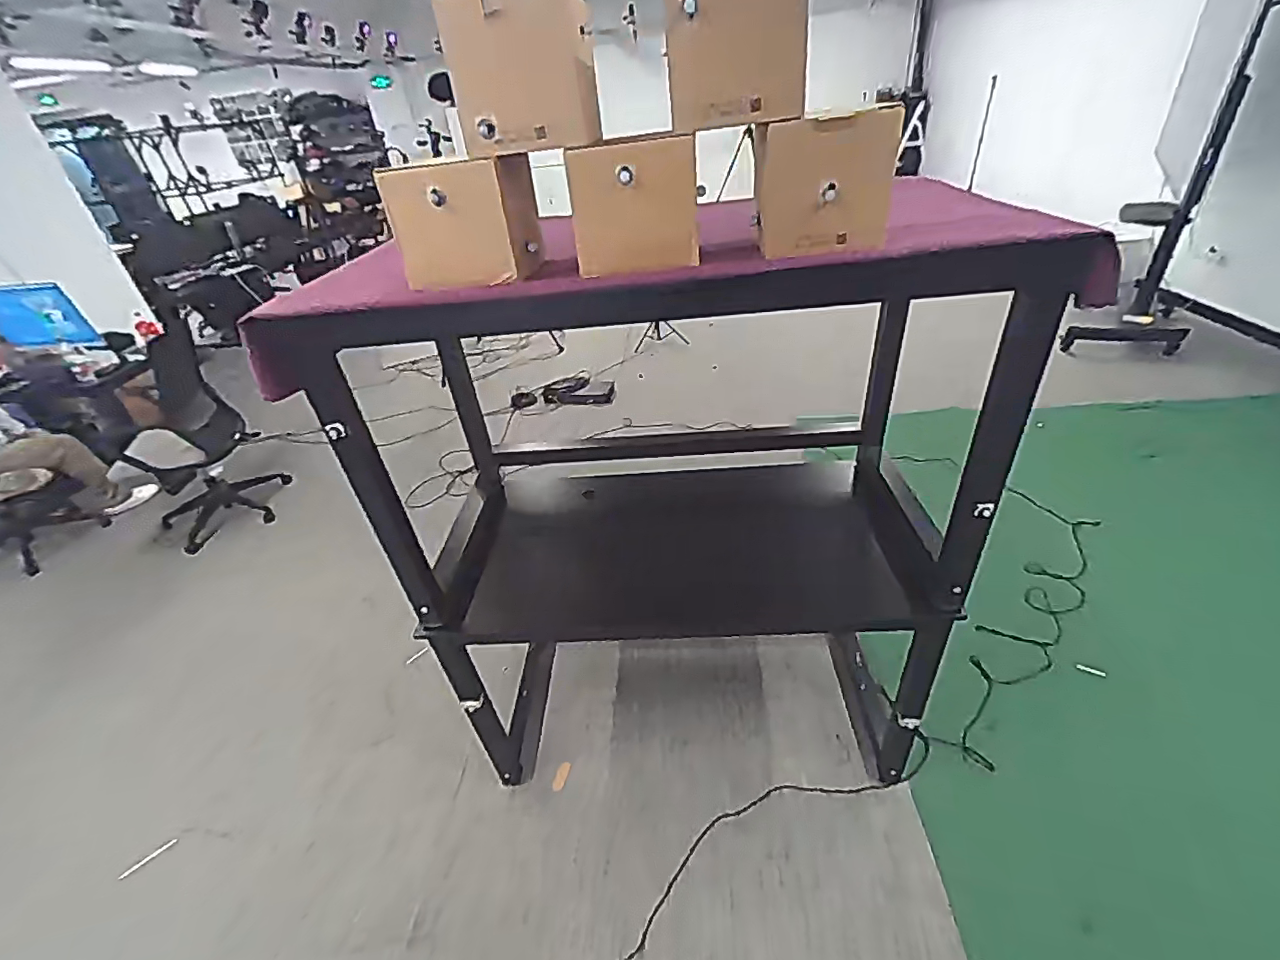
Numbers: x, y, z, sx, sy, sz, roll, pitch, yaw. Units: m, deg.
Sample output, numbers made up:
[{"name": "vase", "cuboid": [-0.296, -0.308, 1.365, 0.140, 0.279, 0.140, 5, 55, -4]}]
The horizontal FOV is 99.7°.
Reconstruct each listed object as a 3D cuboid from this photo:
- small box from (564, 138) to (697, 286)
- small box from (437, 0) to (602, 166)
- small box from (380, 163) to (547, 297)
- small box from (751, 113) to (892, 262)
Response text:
[{"name": "small box", "cuboid": [-0.005, -0.407, 0.822, 0.179, 0.176, 0.168, -5, 34, 5]}, {"name": "small box", "cuboid": [-0.152, -0.542, 0.755, 0.168, 0.176, 0.179, -3, 33, 6]}, {"name": "small box", "cuboid": [-0.261, -0.393, 0.847, 0.179, 0.176, 0.168, 0, 34, 9]}, {"name": "small box", "cuboid": [0.254, -0.426, 0.797, 0.168, 0.176, 0.179, -2, 35, 7]}]
